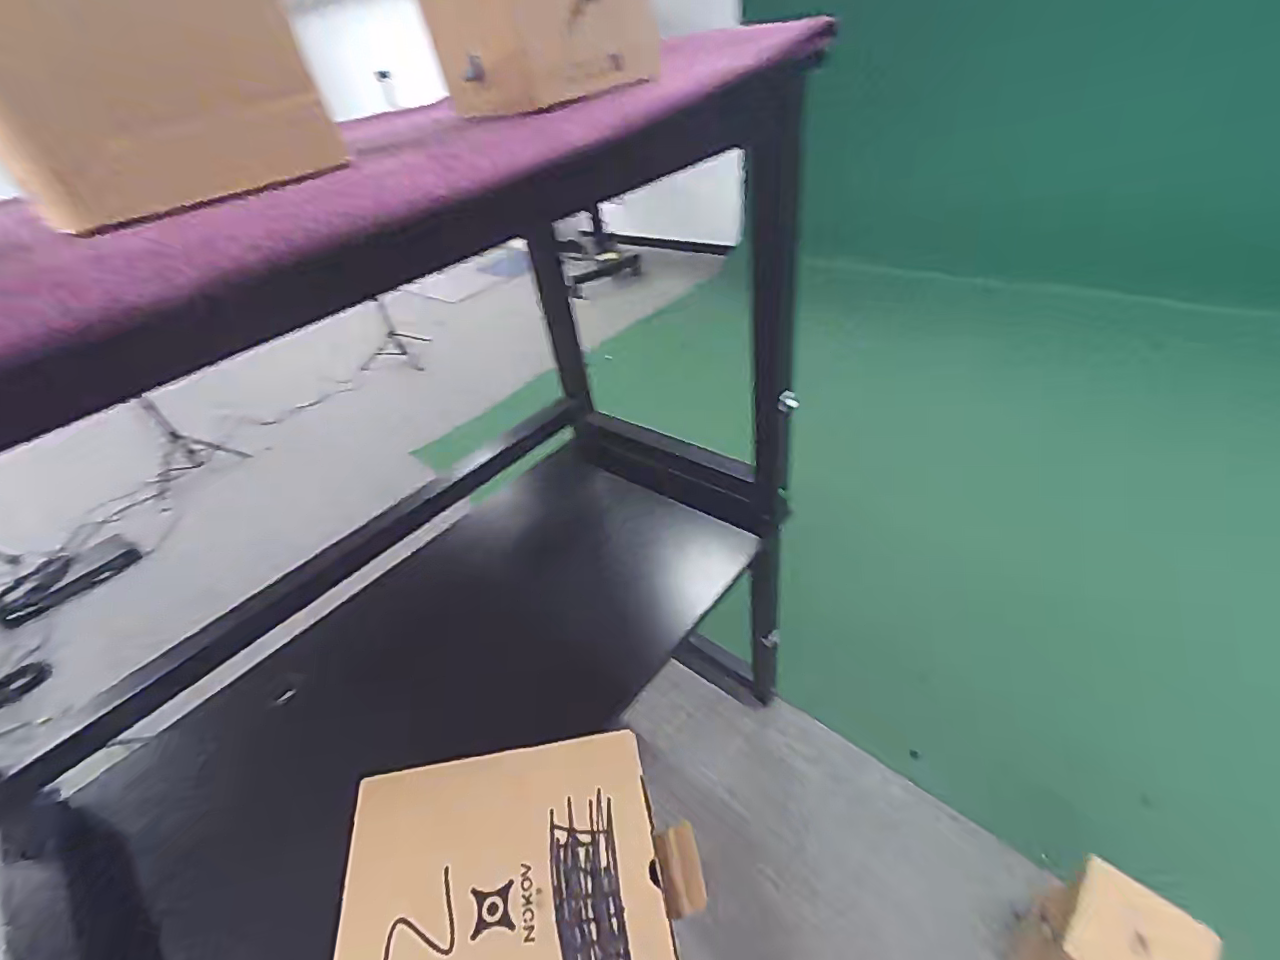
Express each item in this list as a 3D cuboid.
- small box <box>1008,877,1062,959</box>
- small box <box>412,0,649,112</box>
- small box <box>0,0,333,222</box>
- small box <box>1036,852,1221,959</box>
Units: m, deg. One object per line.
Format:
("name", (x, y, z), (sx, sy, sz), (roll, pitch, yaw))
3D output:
("small box", (0.811, 0.887, 0.988), (0.179, 0.176, 0.168), (29, 54, 36))
("small box", (-0.112, -0.480, 0.529), (0.168, 0.176, 0.179), (-36, 44, -26))
("small box", (-0.342, -0.274, 0.340), (0.168, 0.176, 0.179), (23, 49, 36))
("small box", (0.782, 0.769, 0.881), (0.168, 0.176, 0.179), (27, 52, 35))
